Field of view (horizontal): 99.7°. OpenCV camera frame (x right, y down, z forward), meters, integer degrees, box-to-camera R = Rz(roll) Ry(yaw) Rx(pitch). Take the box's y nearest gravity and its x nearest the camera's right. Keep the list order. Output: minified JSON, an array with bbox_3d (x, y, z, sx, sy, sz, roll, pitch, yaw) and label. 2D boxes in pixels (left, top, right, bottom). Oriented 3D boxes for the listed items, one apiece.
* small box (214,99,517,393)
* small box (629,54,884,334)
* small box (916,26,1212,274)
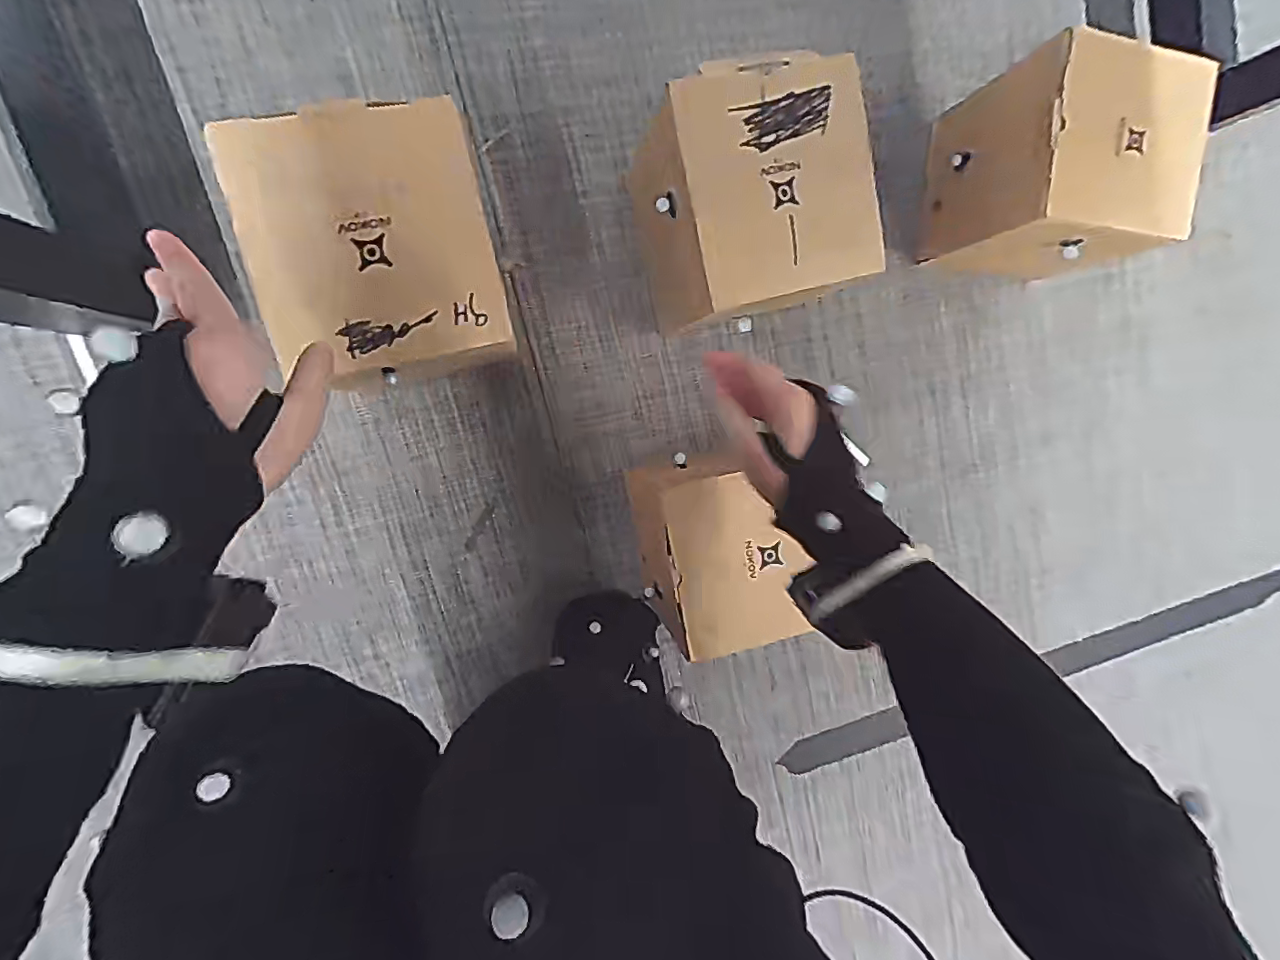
[{"bbox_3d":[-0.206,-0.179,0.460,0.168,0.176,0.179,-13,98,-11],"label":"small box"},{"bbox_3d":[0.097,-0.253,0.517,0.168,0.176,0.179,-16,101,-10],"label":"small box"},{"bbox_3d":[0.439,-0.330,0.584,0.179,0.176,0.168,2,97,-12],"label":"small box"}]
